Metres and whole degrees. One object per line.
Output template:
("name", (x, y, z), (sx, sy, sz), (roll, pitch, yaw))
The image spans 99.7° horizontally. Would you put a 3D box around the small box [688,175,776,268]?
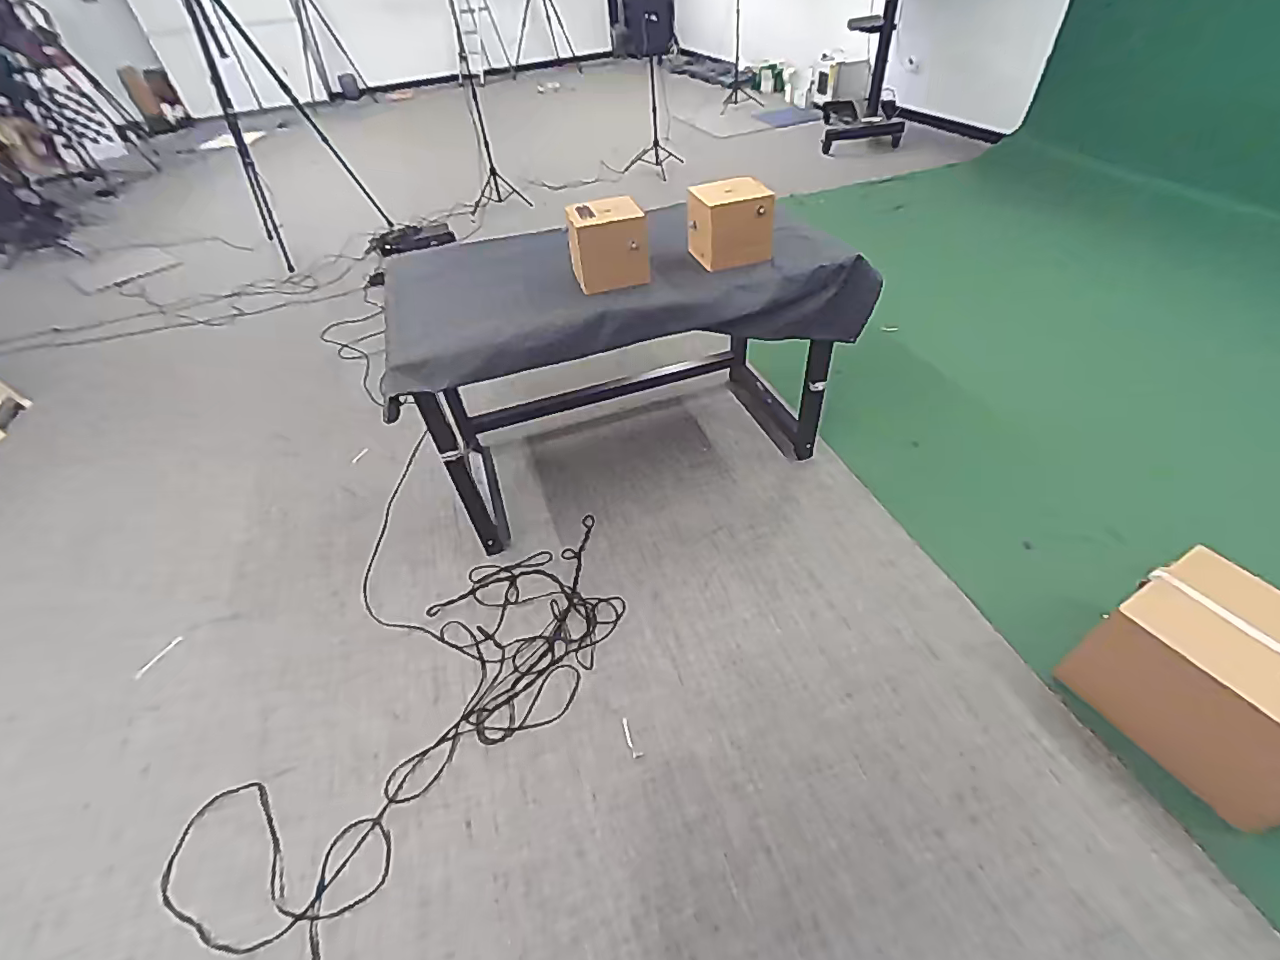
("small box", (0.236, -0.673, 1.414), (0.179, 0.176, 0.168), (-15, 45, -9))
